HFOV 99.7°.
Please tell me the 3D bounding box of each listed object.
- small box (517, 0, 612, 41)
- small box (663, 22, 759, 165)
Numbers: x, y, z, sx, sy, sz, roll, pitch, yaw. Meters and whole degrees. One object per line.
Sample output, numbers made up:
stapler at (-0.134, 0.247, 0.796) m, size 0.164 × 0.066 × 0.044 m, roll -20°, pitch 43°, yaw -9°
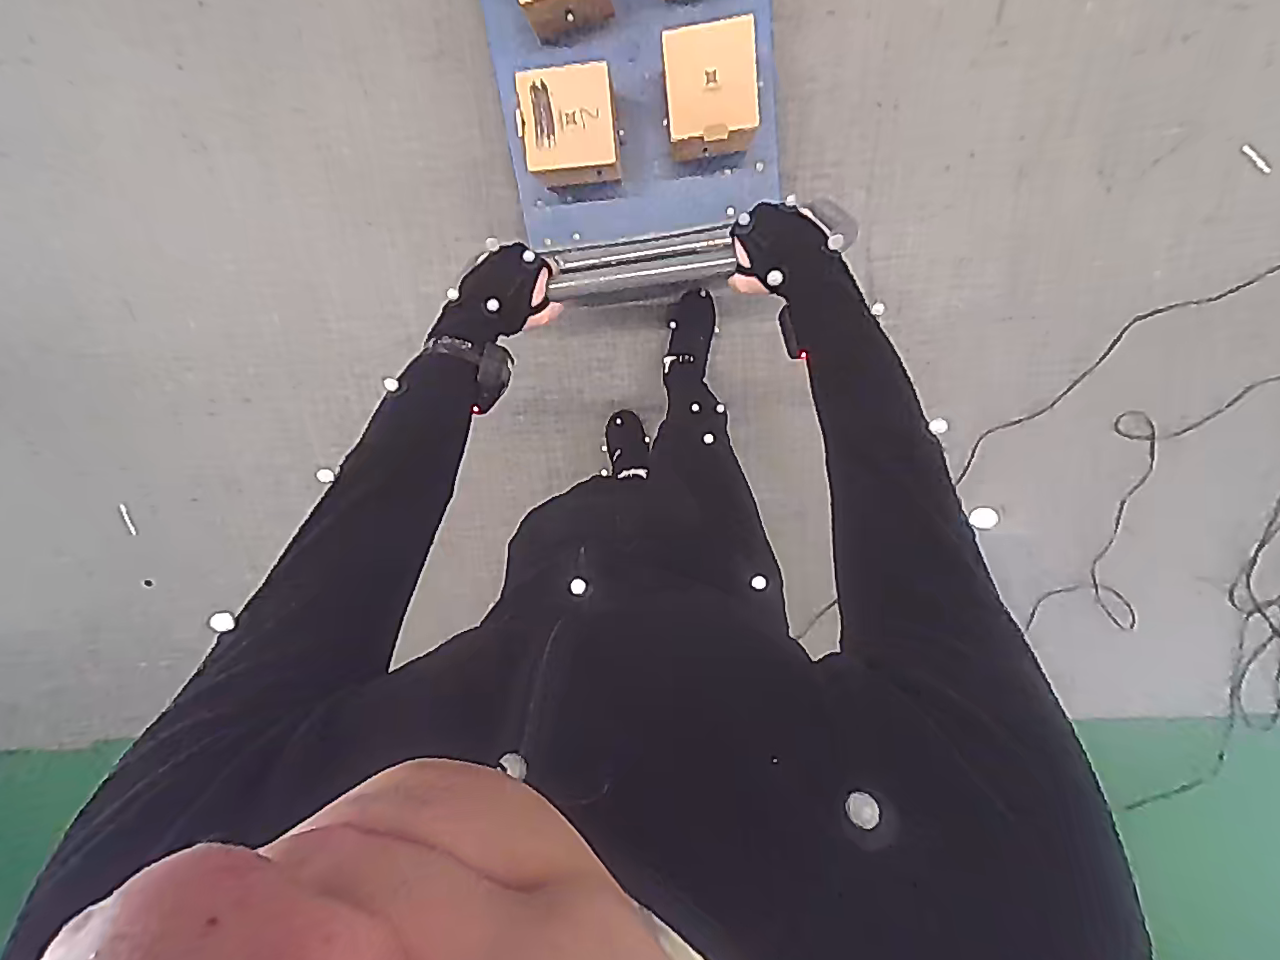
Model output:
small box at (-0.155, -0.961, 1.005) m, size 0.168 × 0.176 × 0.179 m, roll -14°, pitch 108°, yaw 7°
small box at (0.135, -0.748, 1.066) m, size 0.168 × 0.176 × 0.179 m, roll -7°, pitch 109°, yaw 5°
